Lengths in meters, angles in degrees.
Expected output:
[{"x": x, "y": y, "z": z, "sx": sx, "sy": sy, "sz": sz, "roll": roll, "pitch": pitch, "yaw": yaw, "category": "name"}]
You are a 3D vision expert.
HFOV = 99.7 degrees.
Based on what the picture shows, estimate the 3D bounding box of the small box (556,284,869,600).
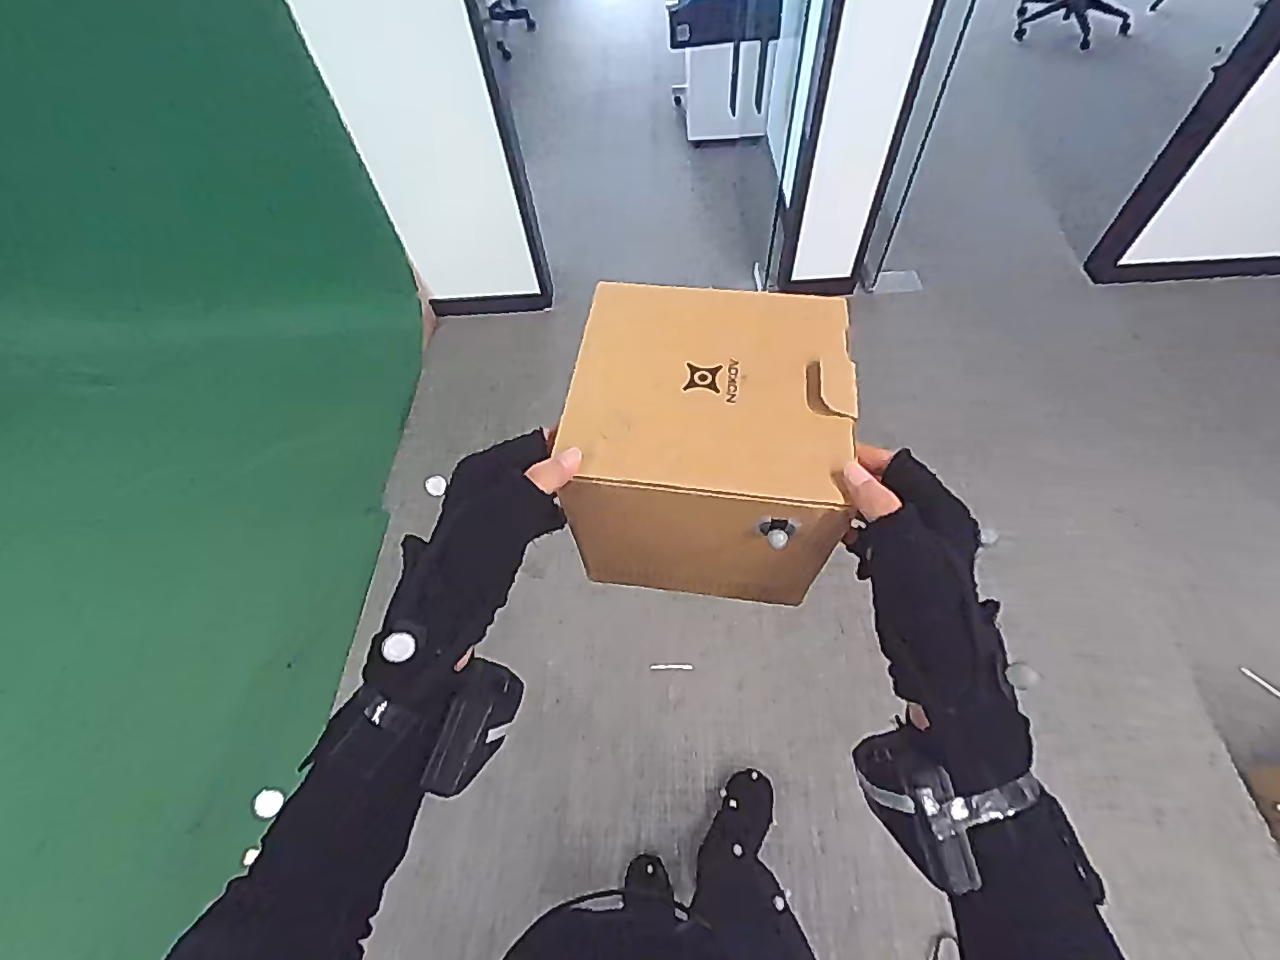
[{"x": 0.051, "y": -0.021, "z": 0.405, "sx": 0.179, "sy": 0.176, "sz": 0.168, "roll": 6, "pitch": 59, "yaw": 6, "category": "small box"}]
